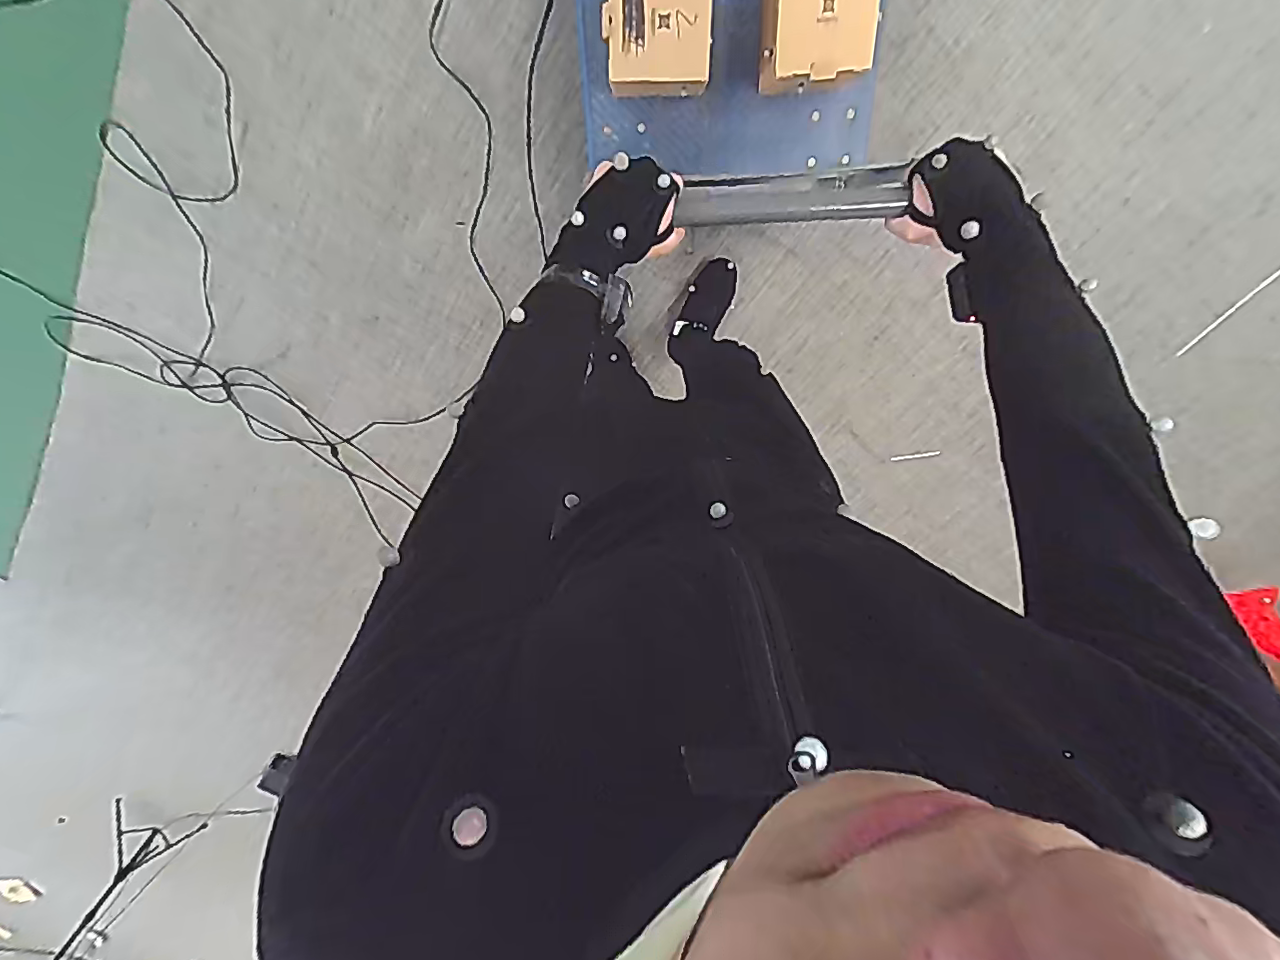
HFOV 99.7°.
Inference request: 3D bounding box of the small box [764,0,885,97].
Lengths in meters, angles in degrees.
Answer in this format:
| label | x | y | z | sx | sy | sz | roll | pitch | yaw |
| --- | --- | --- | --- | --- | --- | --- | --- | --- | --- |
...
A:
| label | x | y | z | sx | sy | sz | roll | pitch | yaw |
| --- | --- | --- | --- | --- | --- | --- | --- | --- | --- |
| small box | 0.317 | -0.798 | 0.953 | 0.168 | 0.176 | 0.179 | -2 | 119 | 3 |
